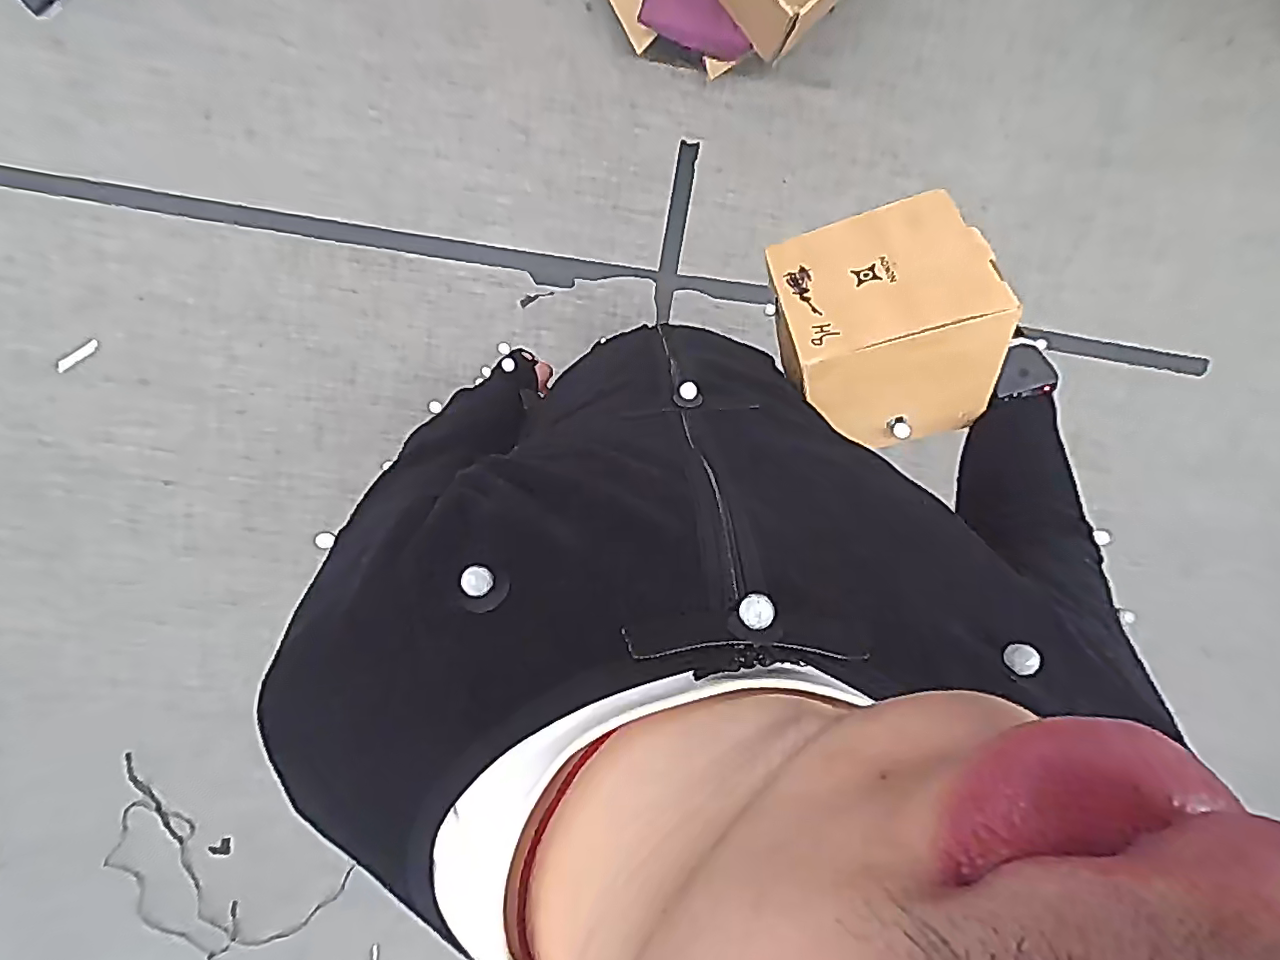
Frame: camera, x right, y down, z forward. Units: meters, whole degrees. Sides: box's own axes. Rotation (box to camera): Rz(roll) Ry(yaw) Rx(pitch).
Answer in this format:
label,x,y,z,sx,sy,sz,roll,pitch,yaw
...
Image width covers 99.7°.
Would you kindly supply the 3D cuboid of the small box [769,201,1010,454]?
label,x,y,z,sx,sy,sz,roll,pitch,yaw
small box,0.246,-0.151,0.577,0.179,0.168,0.176,-14,146,13
